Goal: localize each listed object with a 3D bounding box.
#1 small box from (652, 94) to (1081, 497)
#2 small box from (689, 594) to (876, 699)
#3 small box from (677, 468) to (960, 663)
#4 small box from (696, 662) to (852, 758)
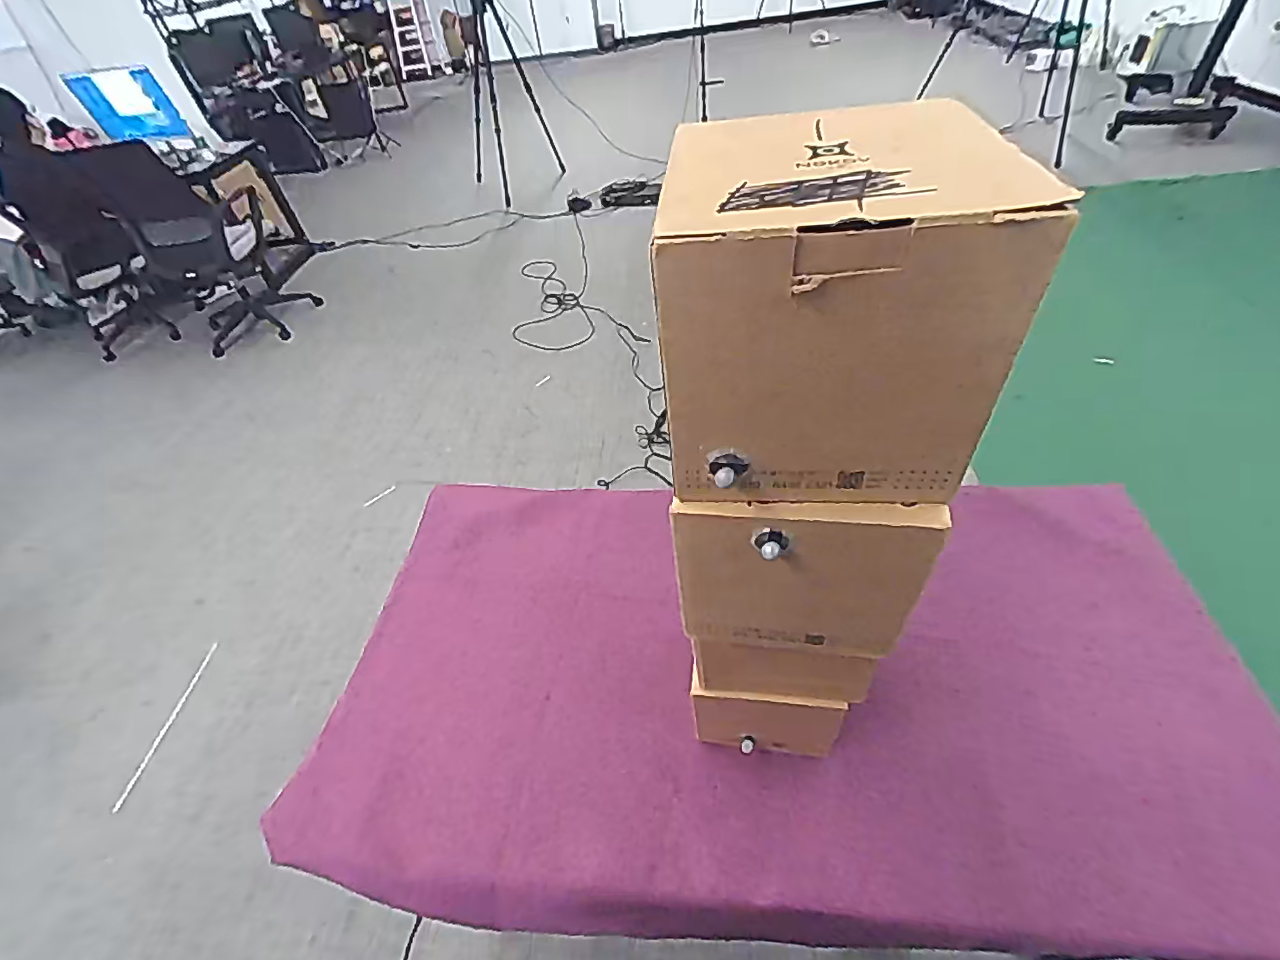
[{"bbox_3d":[0.105,-0.103,0.326,0.168,0.176,0.179,0,46,9],"label":"small box"},{"bbox_3d":[0.149,0.115,0.568,0.179,0.176,0.168,0,47,10],"label":"small box"},{"bbox_3d":[0.127,0.020,0.435,0.168,0.176,0.179,2,46,13],"label":"small box"},{"bbox_3d":[0.163,0.226,0.685,0.168,0.176,0.179,1,48,12],"label":"small box"}]
